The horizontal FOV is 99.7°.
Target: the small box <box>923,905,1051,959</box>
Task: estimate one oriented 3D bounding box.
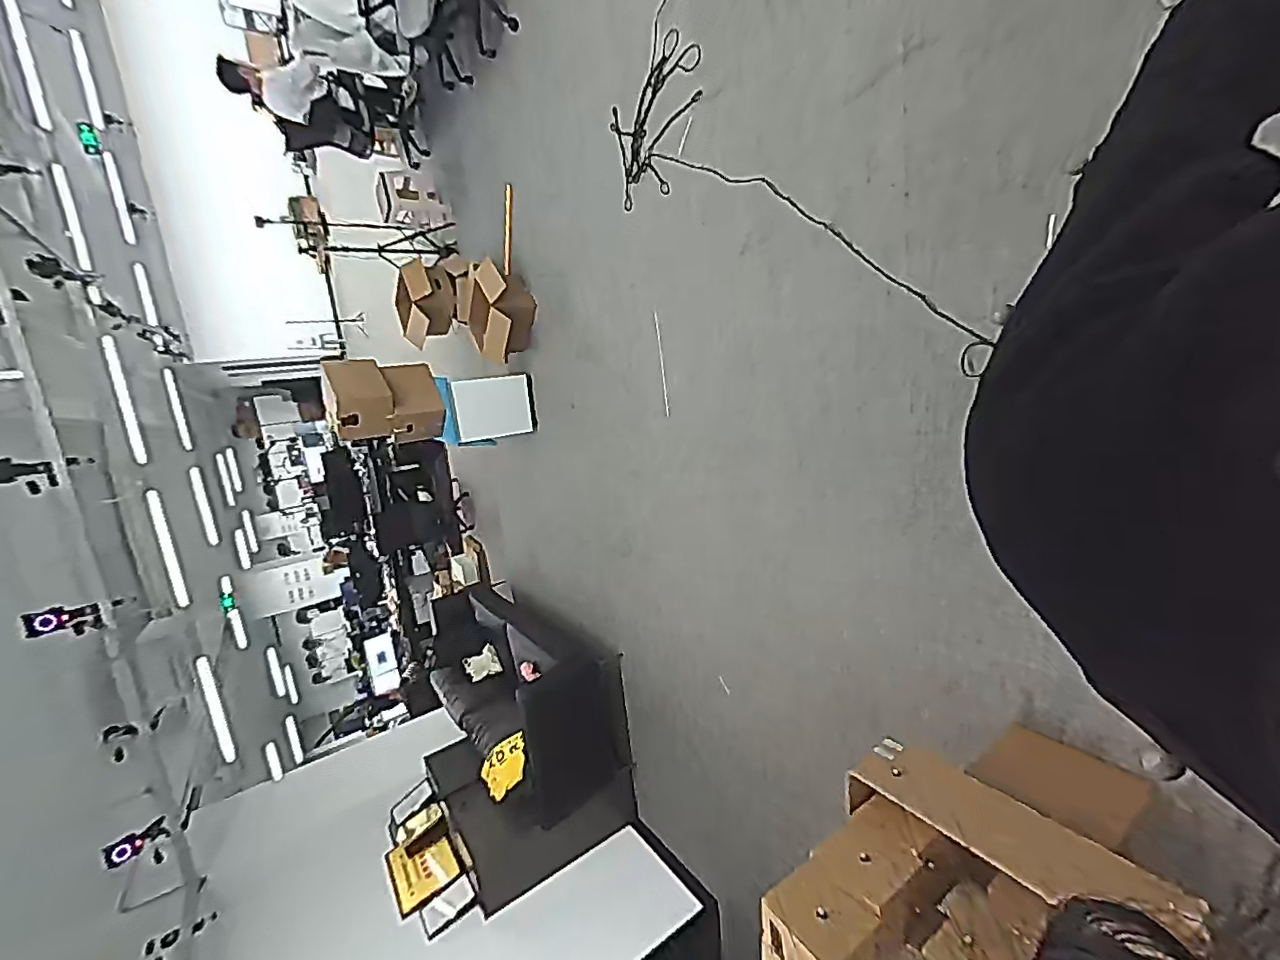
[{"bbox_3d":[0.654,0.947,1.006,0.179,0.176,0.168,24,123,55],"label":"small box"}]

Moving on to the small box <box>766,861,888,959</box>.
[{"bbox_3d":[0.382,0.939,1.118,0.179,0.176,0.168,17,115,53],"label":"small box"}]
